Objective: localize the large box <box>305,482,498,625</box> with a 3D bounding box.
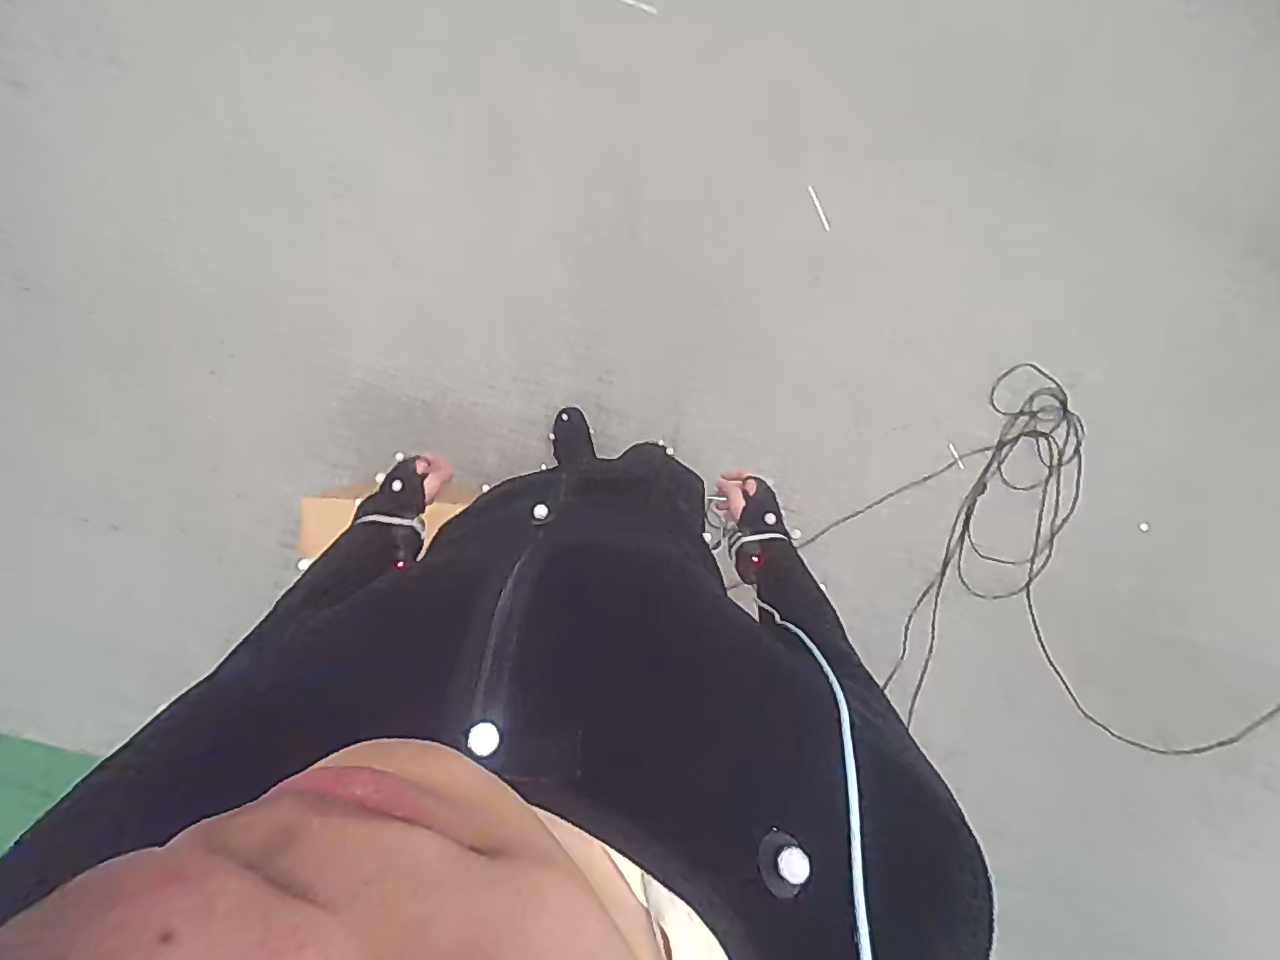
[{"bbox_3d":[-0.613,0.181,1.458,0.408,0.320,0.320,3,96,-5],"label":"large box"}]
